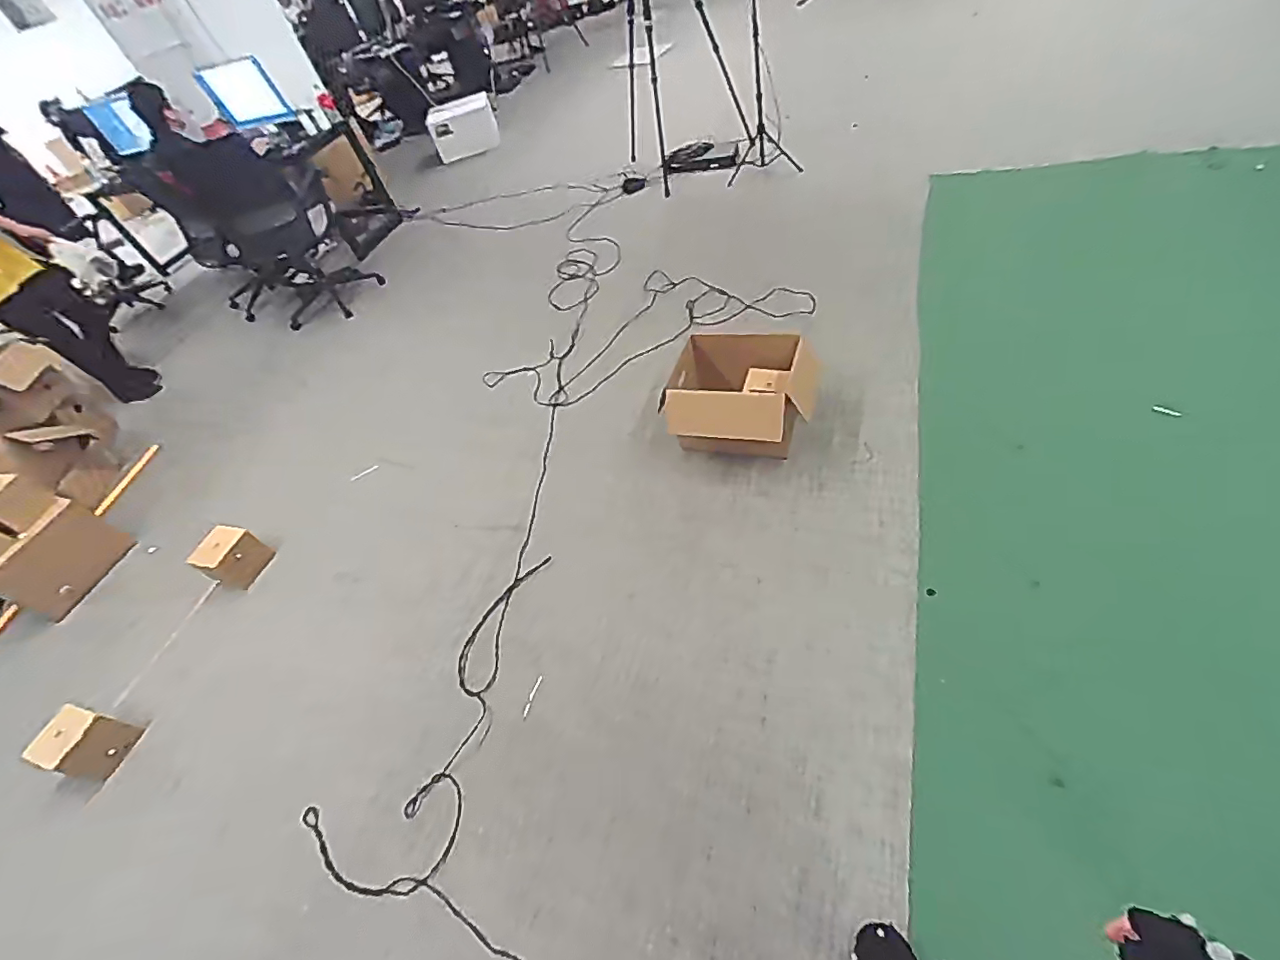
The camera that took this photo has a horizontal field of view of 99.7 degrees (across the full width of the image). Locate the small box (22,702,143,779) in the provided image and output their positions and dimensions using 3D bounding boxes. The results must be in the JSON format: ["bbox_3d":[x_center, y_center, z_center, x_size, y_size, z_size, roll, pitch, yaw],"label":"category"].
[{"bbox_3d":[-1.762,0.831,1.718,0.179,0.176,0.168,5,53,20],"label":"small box"}]

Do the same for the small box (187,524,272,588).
[{"bbox_3d":[-1.588,0.296,2.110,0.168,0.176,0.179,5,54,20],"label":"small box"}]
